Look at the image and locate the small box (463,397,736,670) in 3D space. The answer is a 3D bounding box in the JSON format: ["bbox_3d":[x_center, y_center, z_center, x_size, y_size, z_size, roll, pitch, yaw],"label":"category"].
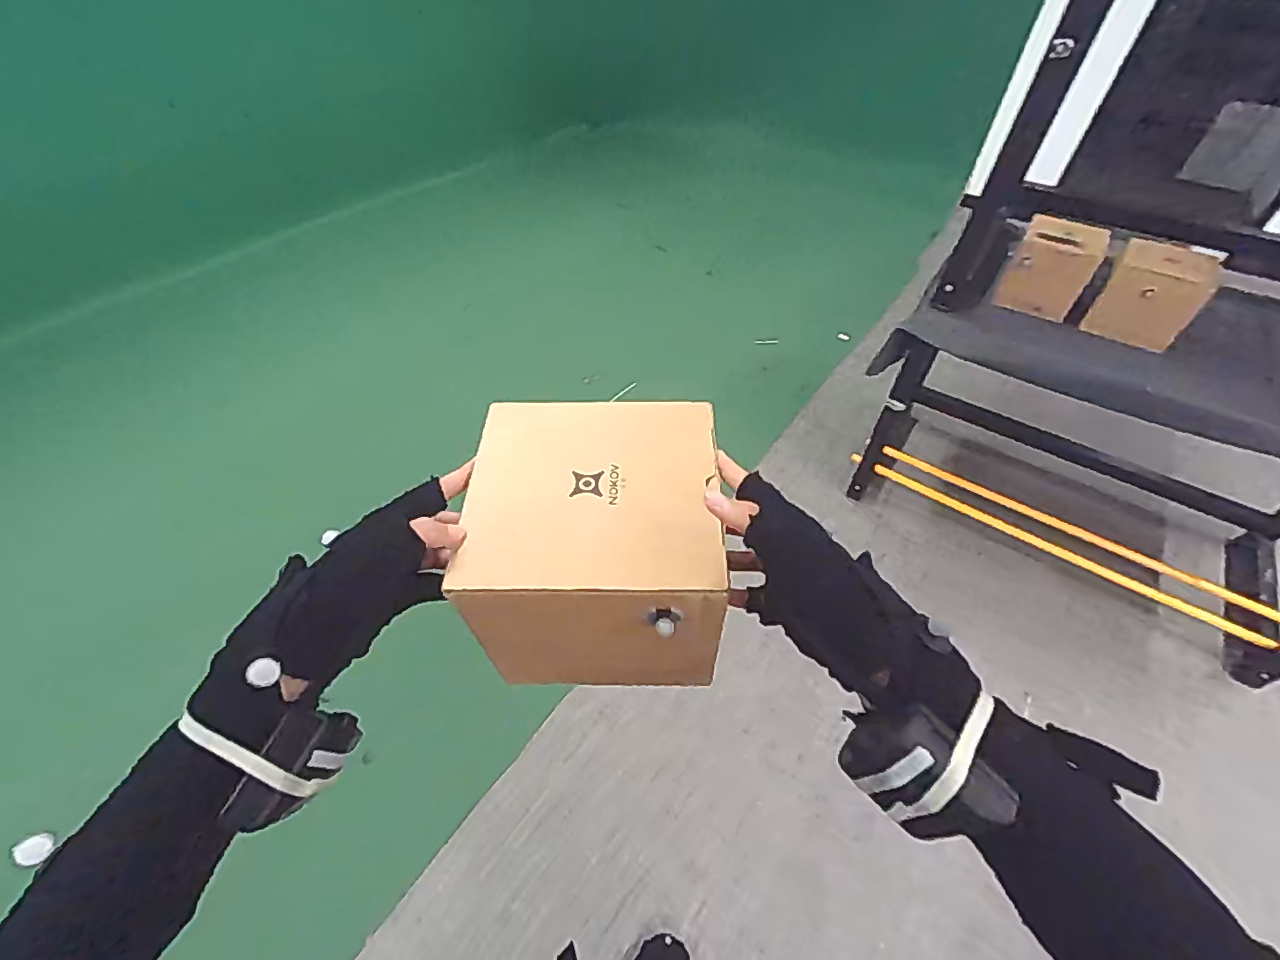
[{"bbox_3d":[-0.023,0.049,0.448,0.179,0.176,0.168,0,52,1],"label":"small box"}]
